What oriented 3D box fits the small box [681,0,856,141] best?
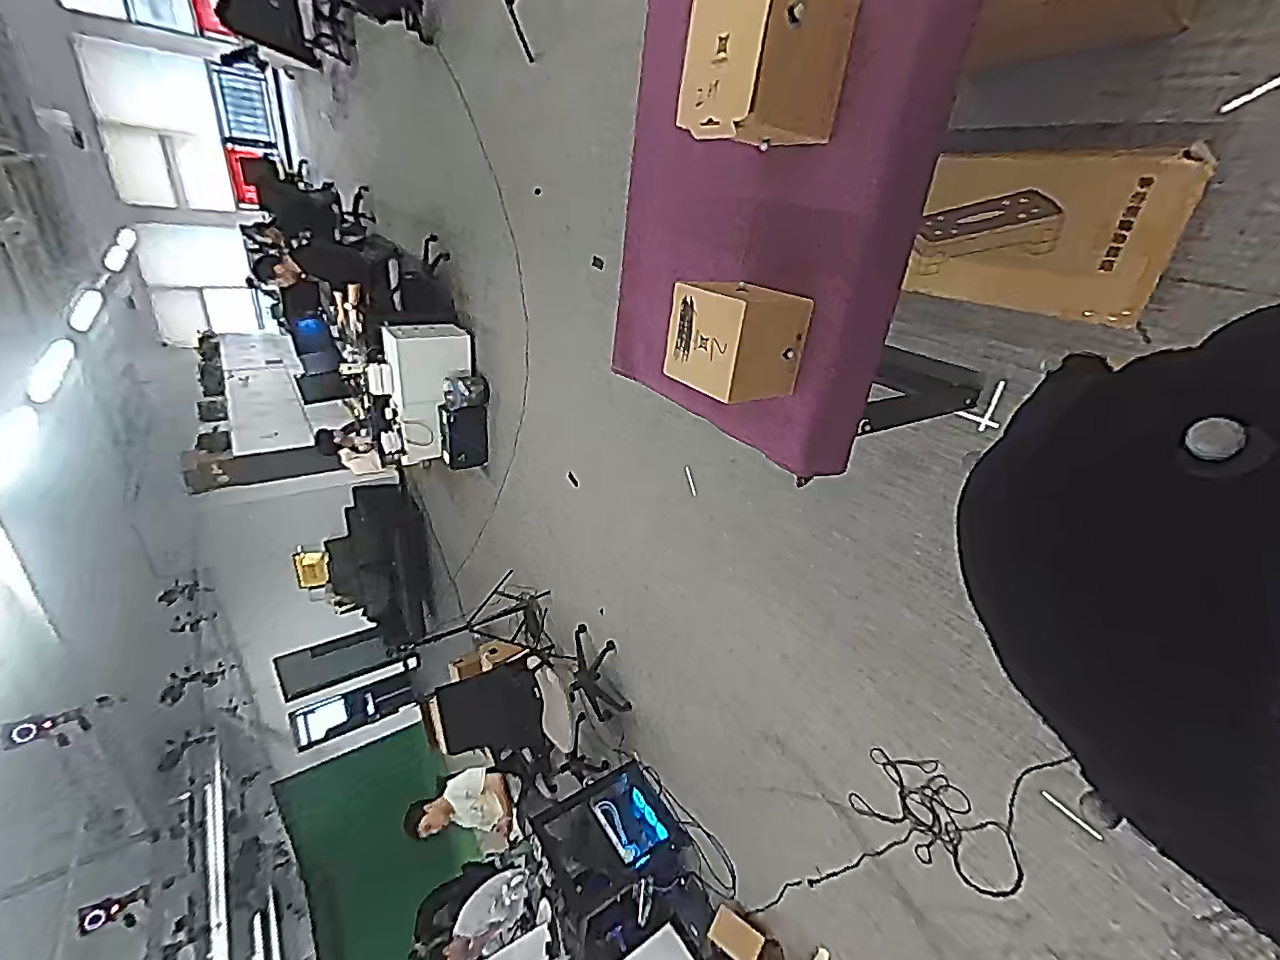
[{"bbox_3d":[0.185,-0.611,0.790,0.168,0.176,0.179,39,131,47],"label":"small box"}]
